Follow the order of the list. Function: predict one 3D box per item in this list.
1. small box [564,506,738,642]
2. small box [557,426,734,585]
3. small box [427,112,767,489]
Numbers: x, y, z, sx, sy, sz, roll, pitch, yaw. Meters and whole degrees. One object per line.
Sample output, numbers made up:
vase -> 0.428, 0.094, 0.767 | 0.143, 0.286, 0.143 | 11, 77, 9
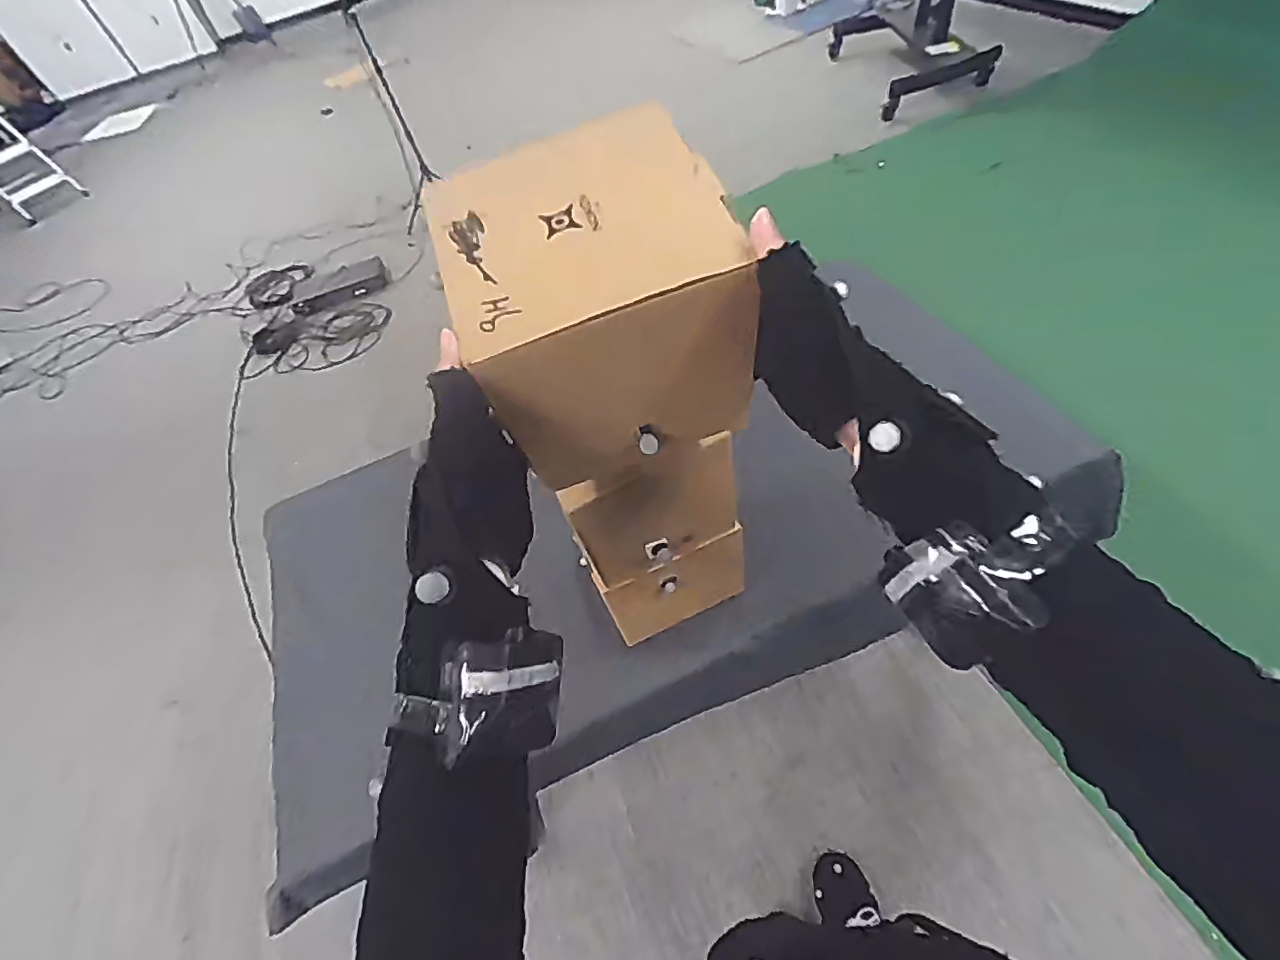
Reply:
small box -> 0.021, 0.092, 0.730 | 0.179, 0.176, 0.168 | -24, 54, -7
small box -> -0.011, -0.018, 0.592 | 0.168, 0.176, 0.179 | -27, 55, -6
small box -> -0.027, -0.118, 0.397 | 0.179, 0.176, 0.168 | -20, 62, -2
